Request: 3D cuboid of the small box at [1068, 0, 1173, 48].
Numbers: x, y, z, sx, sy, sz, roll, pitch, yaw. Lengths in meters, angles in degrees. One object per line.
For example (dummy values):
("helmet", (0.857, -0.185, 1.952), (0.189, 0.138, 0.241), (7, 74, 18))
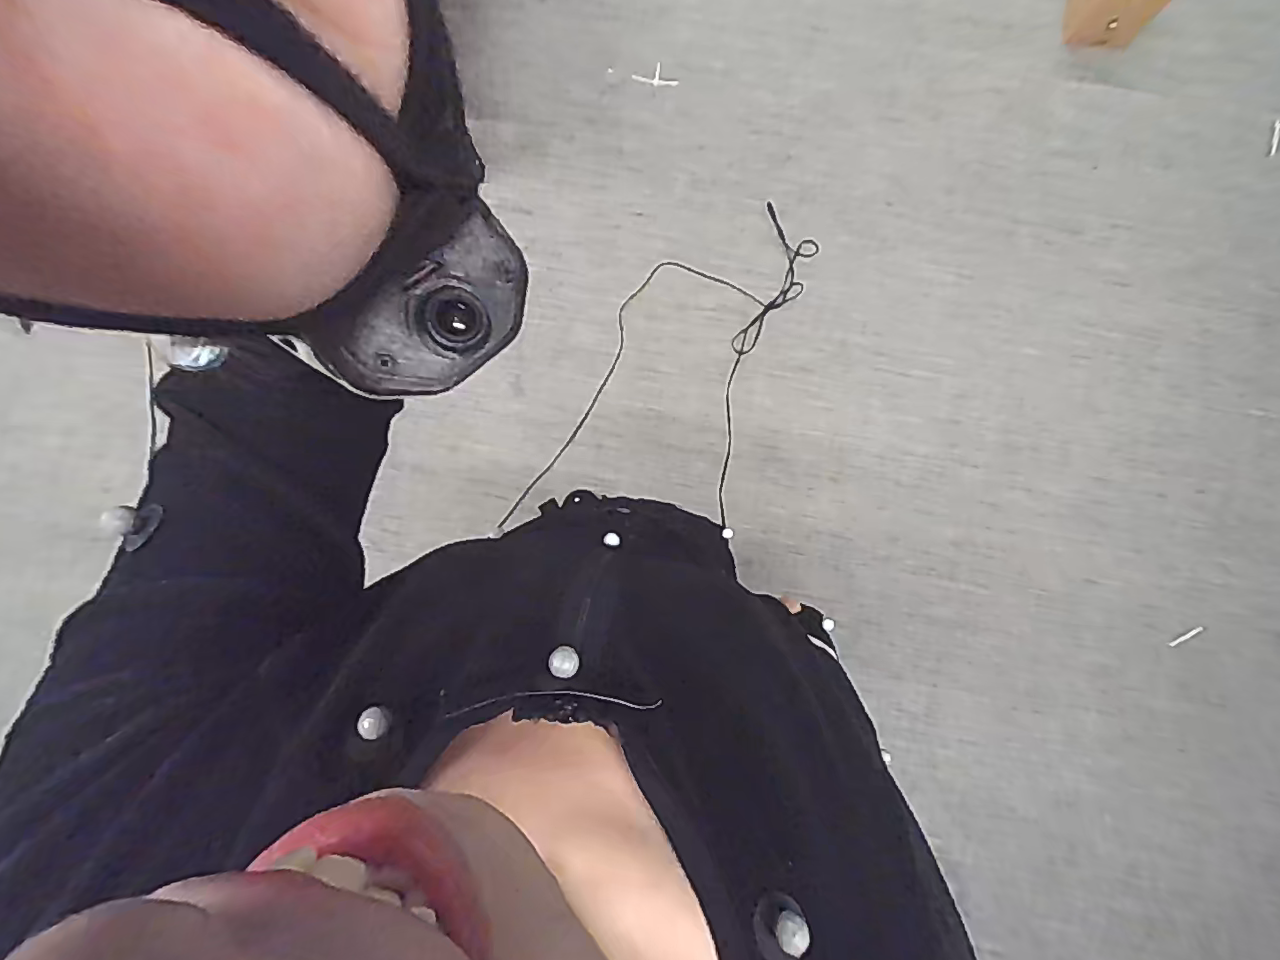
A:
("small box", (1.296, -1.312, 1.449), (0.168, 0.176, 0.179), (8, 88, 1))
